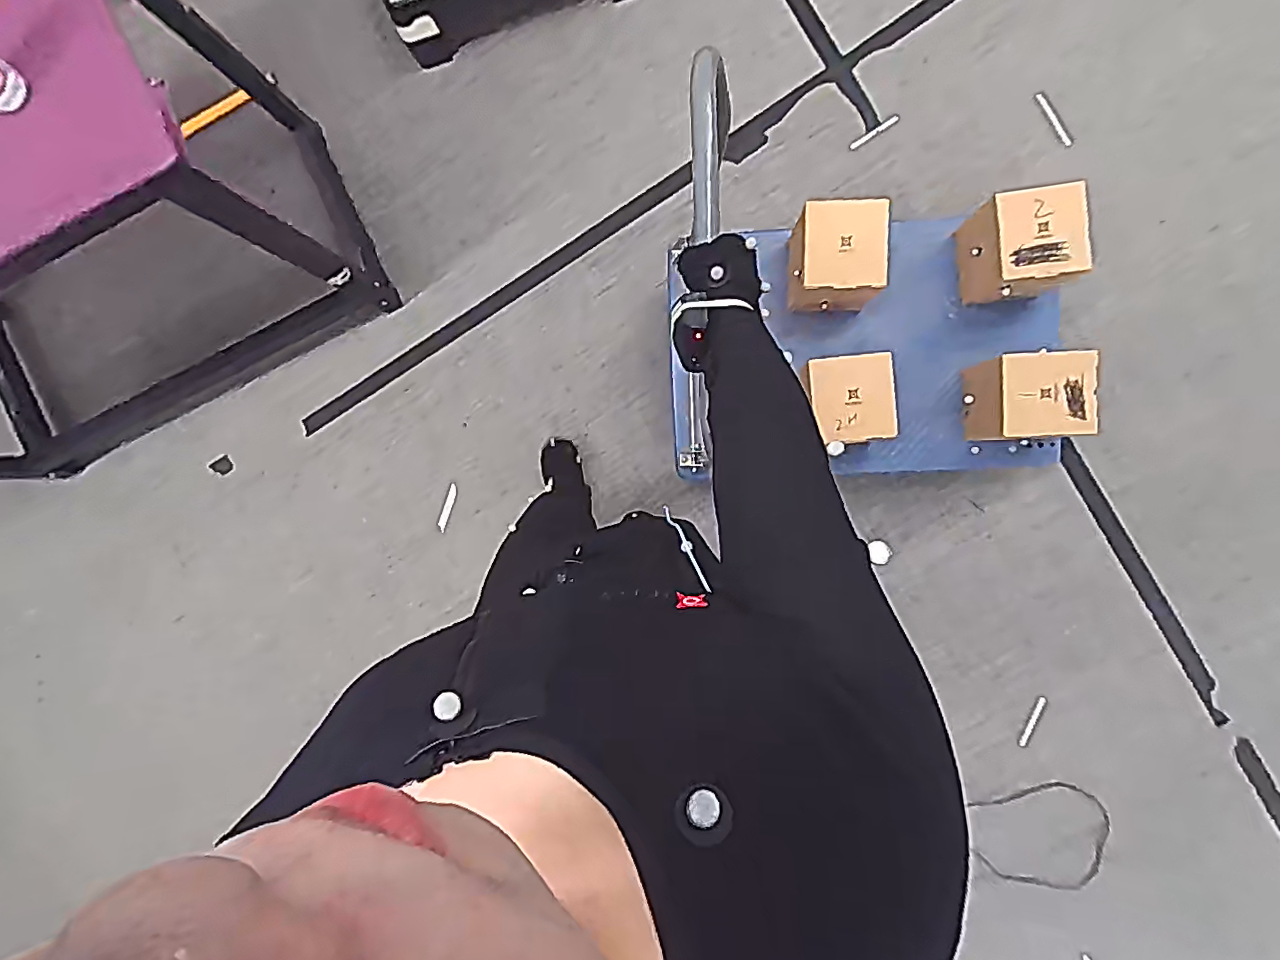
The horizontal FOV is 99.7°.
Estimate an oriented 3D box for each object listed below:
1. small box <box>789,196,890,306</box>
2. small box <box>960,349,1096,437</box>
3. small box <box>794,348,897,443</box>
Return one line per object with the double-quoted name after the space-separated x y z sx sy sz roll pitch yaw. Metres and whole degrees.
0.423 -0.486 1.166 0.168 0.176 0.179 1 94 4 "small box"
0.810 -0.178 1.142 0.179 0.176 0.168 -1 92 6 "small box"
0.438 -0.177 1.175 0.168 0.176 0.179 -4 91 5 "small box"
